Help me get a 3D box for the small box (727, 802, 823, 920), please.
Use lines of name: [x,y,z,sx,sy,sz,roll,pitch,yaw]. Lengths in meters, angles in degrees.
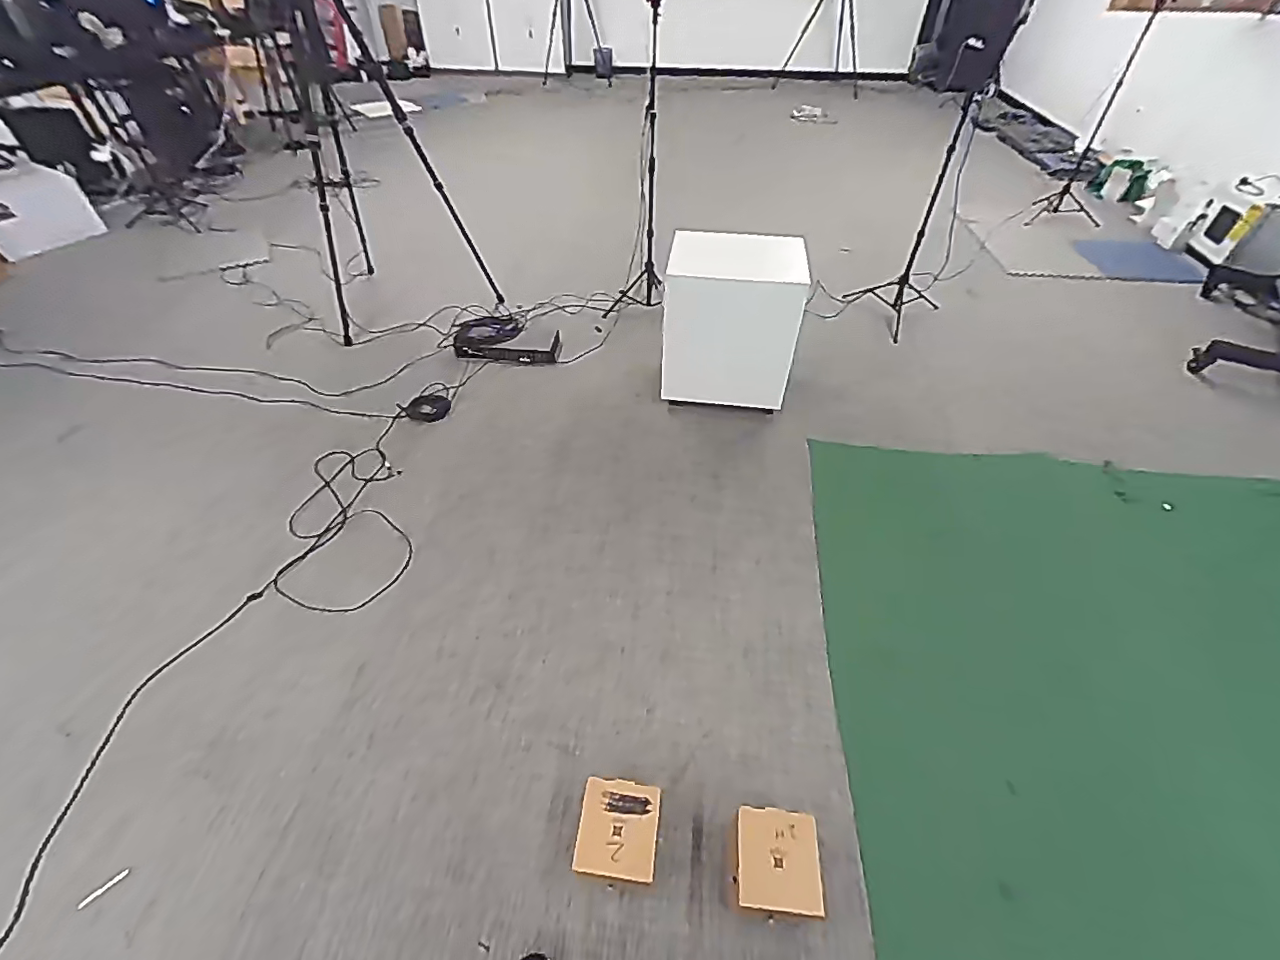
small box: [0.280,0.816,1.153,0.168,0.176,0.179,5,47,3]
